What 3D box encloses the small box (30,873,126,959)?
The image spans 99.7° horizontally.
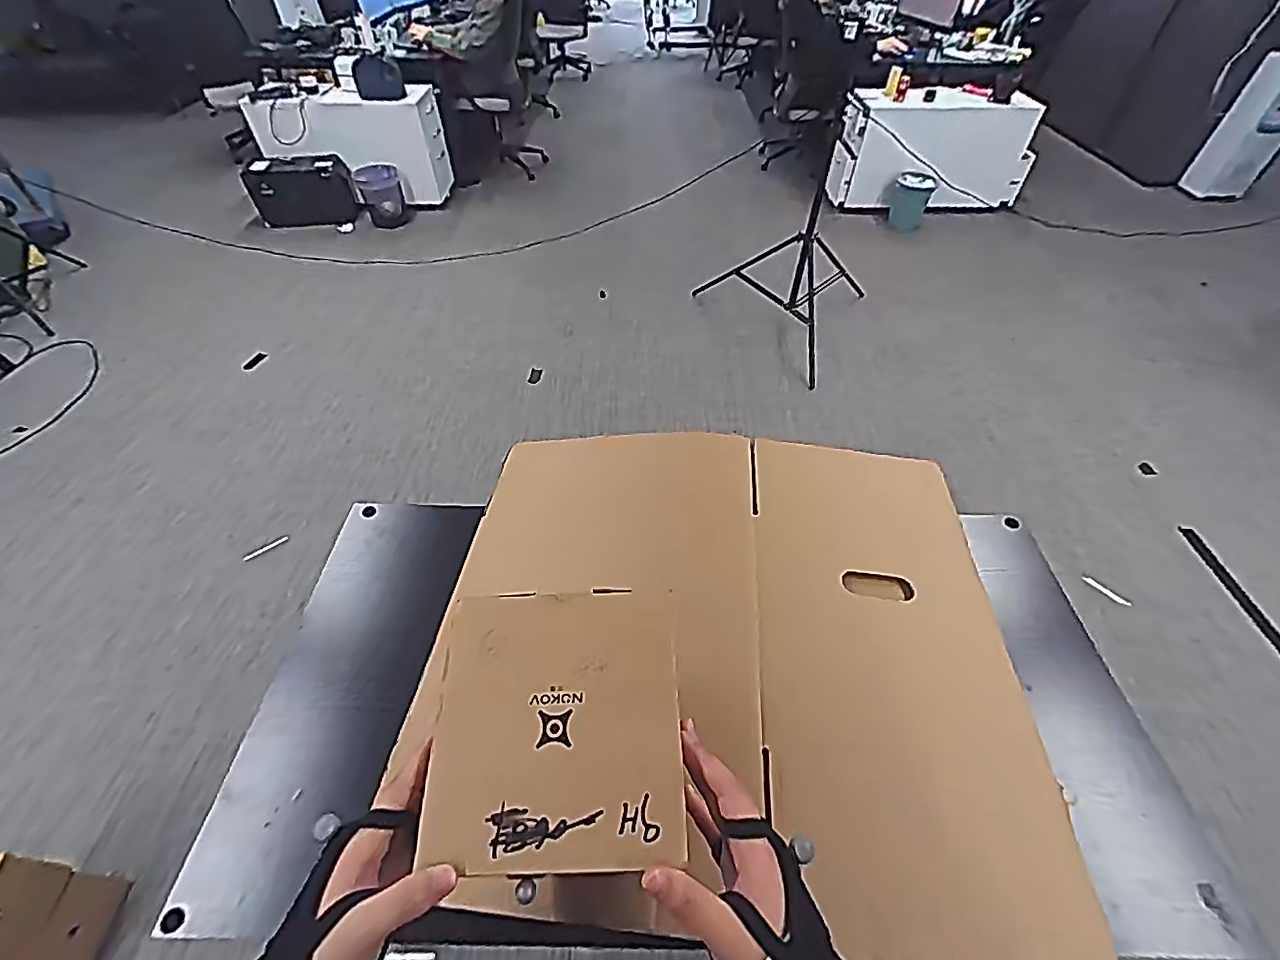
[{"bbox_3d":[-1.197,0.905,1.078,0.168,0.176,0.179,-2,49,-2],"label":"small box"}]

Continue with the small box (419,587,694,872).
[{"bbox_3d":[-0.047,0.201,0.429,0.168,0.176,0.179,-4,56,3],"label":"small box"}]

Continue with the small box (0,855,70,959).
[{"bbox_3d":[-1.198,0.793,0.961,0.168,0.176,0.179,-4,47,-5],"label":"small box"}]
